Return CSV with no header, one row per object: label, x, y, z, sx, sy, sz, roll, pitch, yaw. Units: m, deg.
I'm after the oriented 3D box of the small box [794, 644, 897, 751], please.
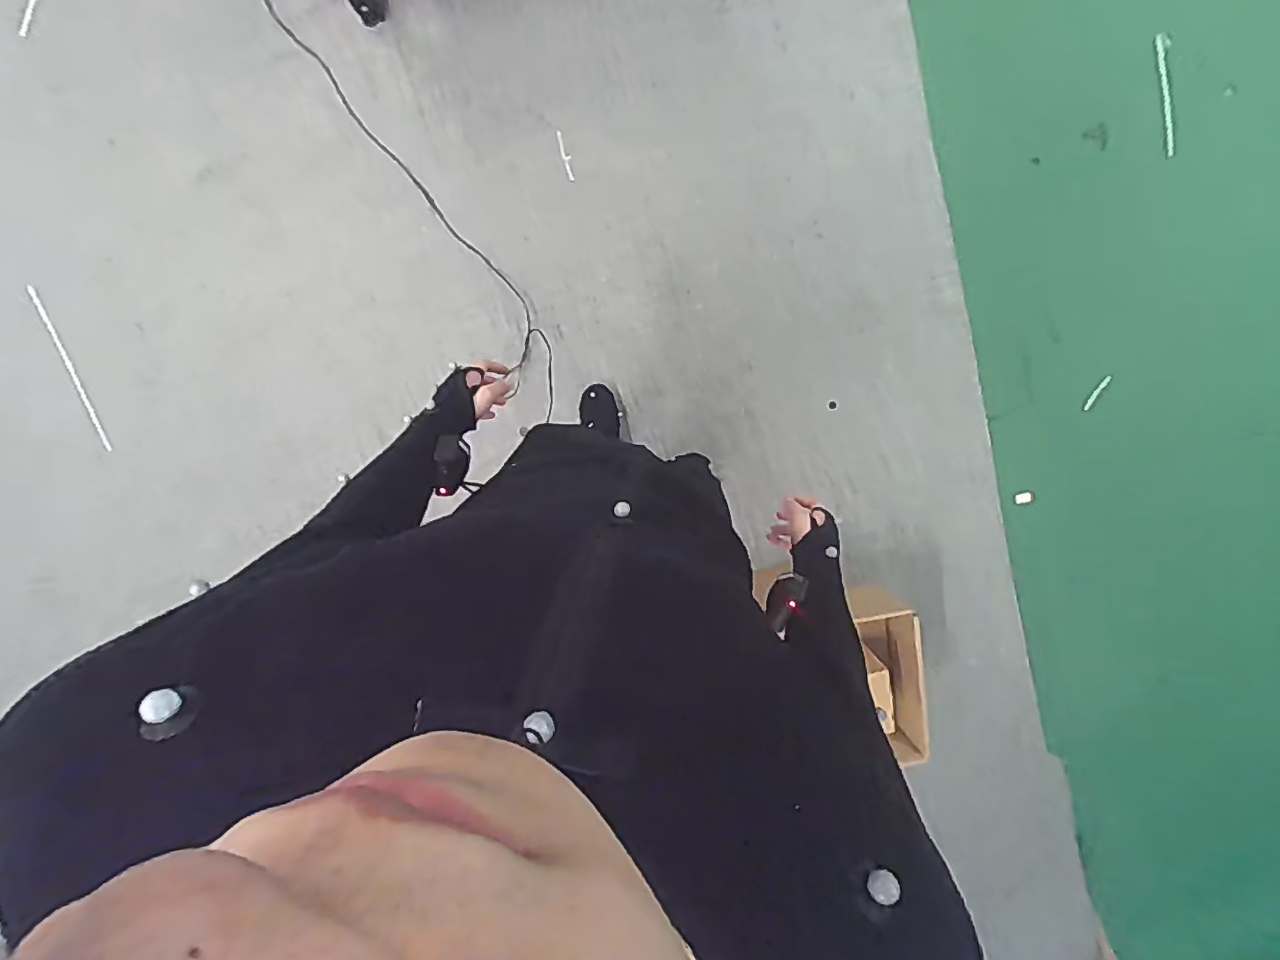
small box,0.490,0.517,1.307,0.179,0.176,0.168,-10,100,-1
